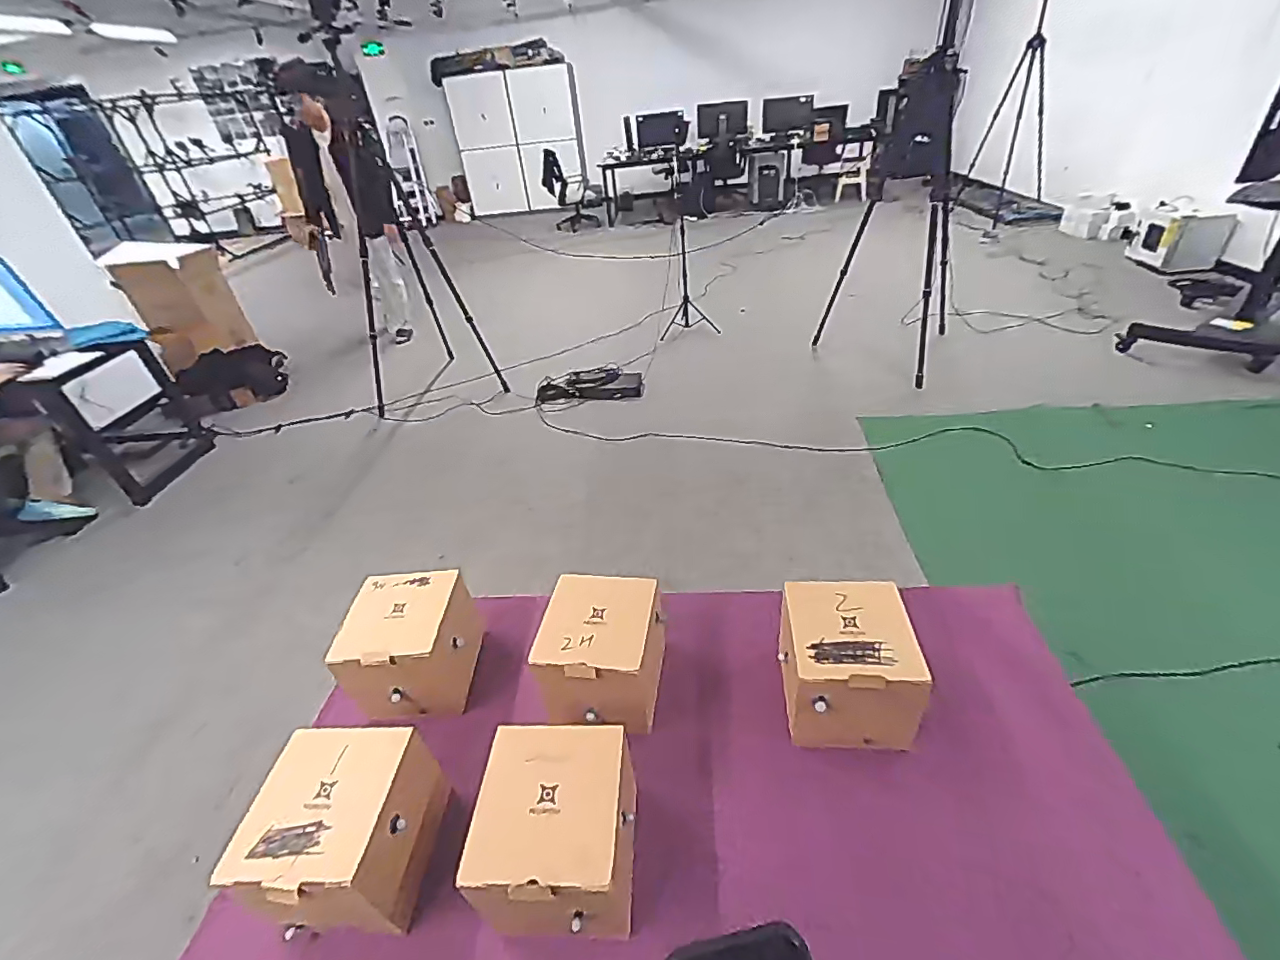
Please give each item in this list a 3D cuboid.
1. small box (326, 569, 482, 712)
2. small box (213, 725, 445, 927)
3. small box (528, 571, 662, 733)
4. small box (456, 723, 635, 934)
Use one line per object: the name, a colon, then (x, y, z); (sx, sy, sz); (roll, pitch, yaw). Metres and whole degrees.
small box: (-0.382, 0.276, 0.917); (0.168, 0.176, 0.179); (-5, 37, 3)
small box: (-0.372, 0.440, 0.691); (0.168, 0.176, 0.179); (-3, 35, 5)
small box: (-0.059, 0.271, 0.867); (0.168, 0.176, 0.179); (1, 37, 12)
small box: (-0.099, 0.426, 0.666); (0.168, 0.176, 0.179); (-2, 36, 6)
